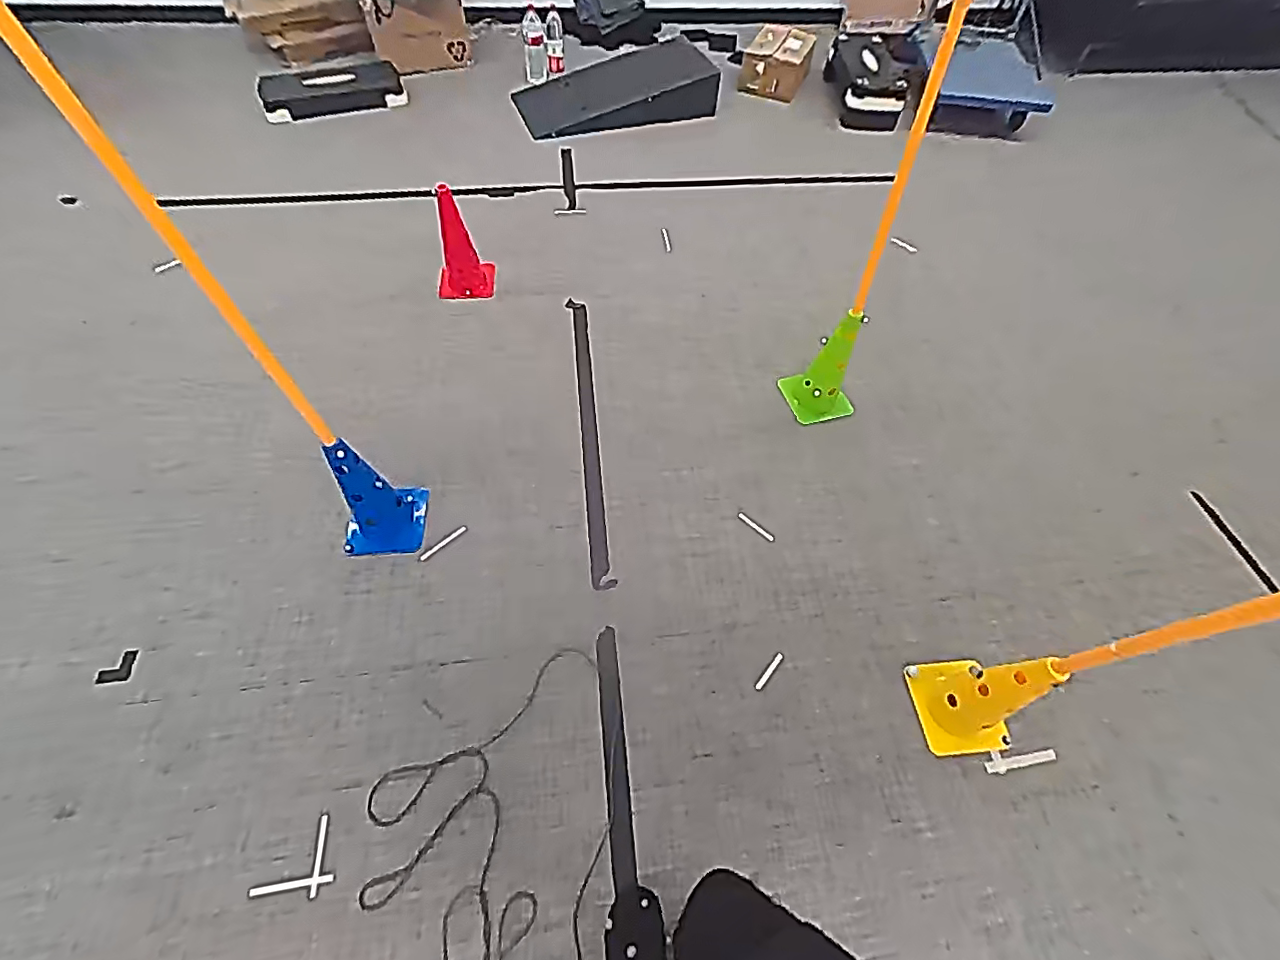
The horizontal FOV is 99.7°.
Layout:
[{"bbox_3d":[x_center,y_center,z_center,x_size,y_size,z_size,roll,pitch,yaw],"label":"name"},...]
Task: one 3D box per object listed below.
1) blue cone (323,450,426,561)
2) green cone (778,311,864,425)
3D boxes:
[{"bbox_3d":[-0.680,0.040,1.337,0.193,0.380,0.192,-3,57,-4],"label":"blue cone"},{"bbox_3d":[0.586,-0.365,1.647,0.200,0.368,0.202,-14,60,-11],"label":"green cone"}]
